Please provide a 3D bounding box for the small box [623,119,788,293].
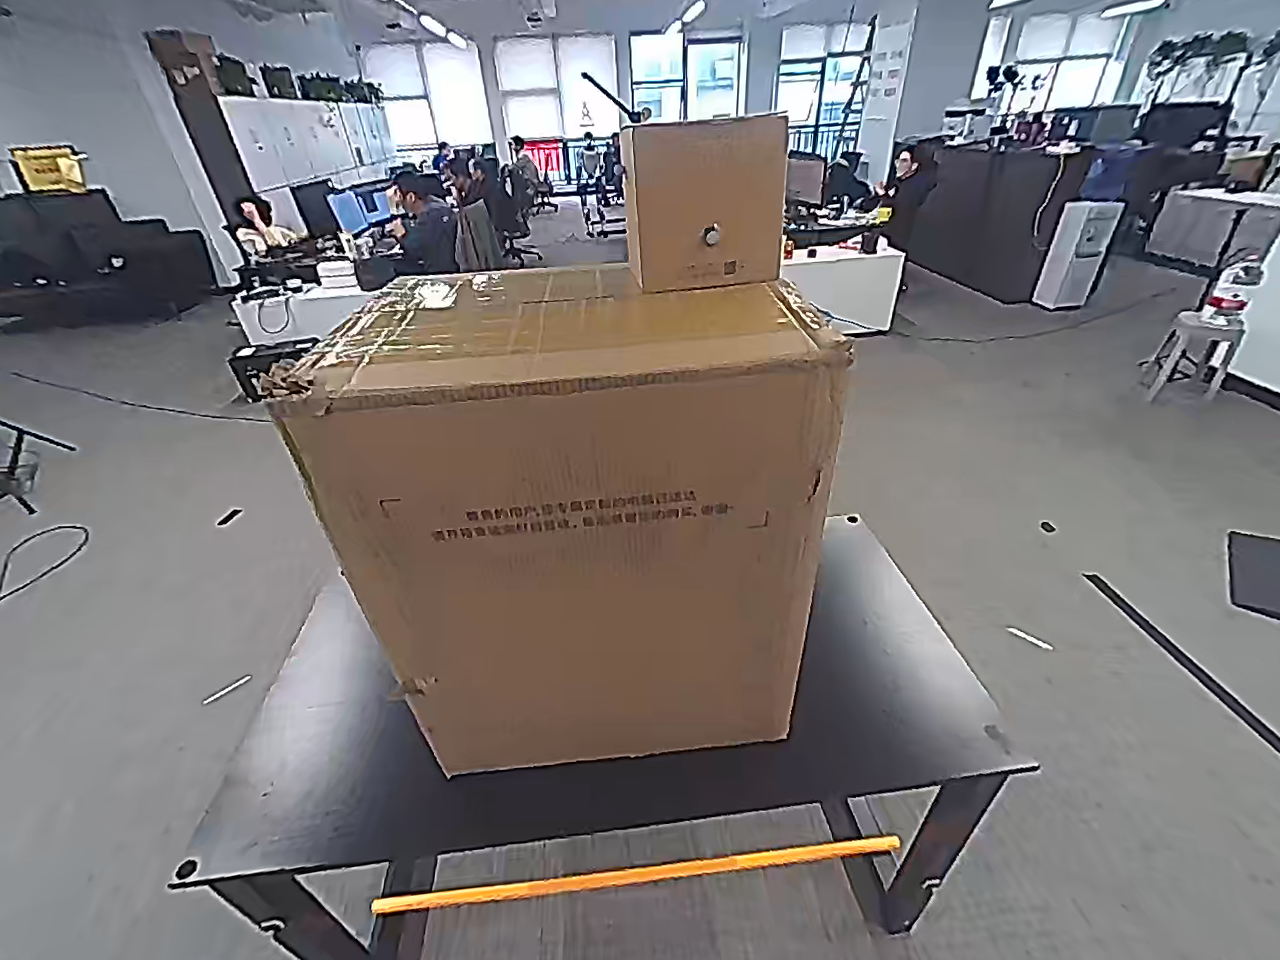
[{"bbox_3d":[0.070,-0.336,0.667,0.168,0.176,0.179,-7,32,-3],"label":"small box"}]
